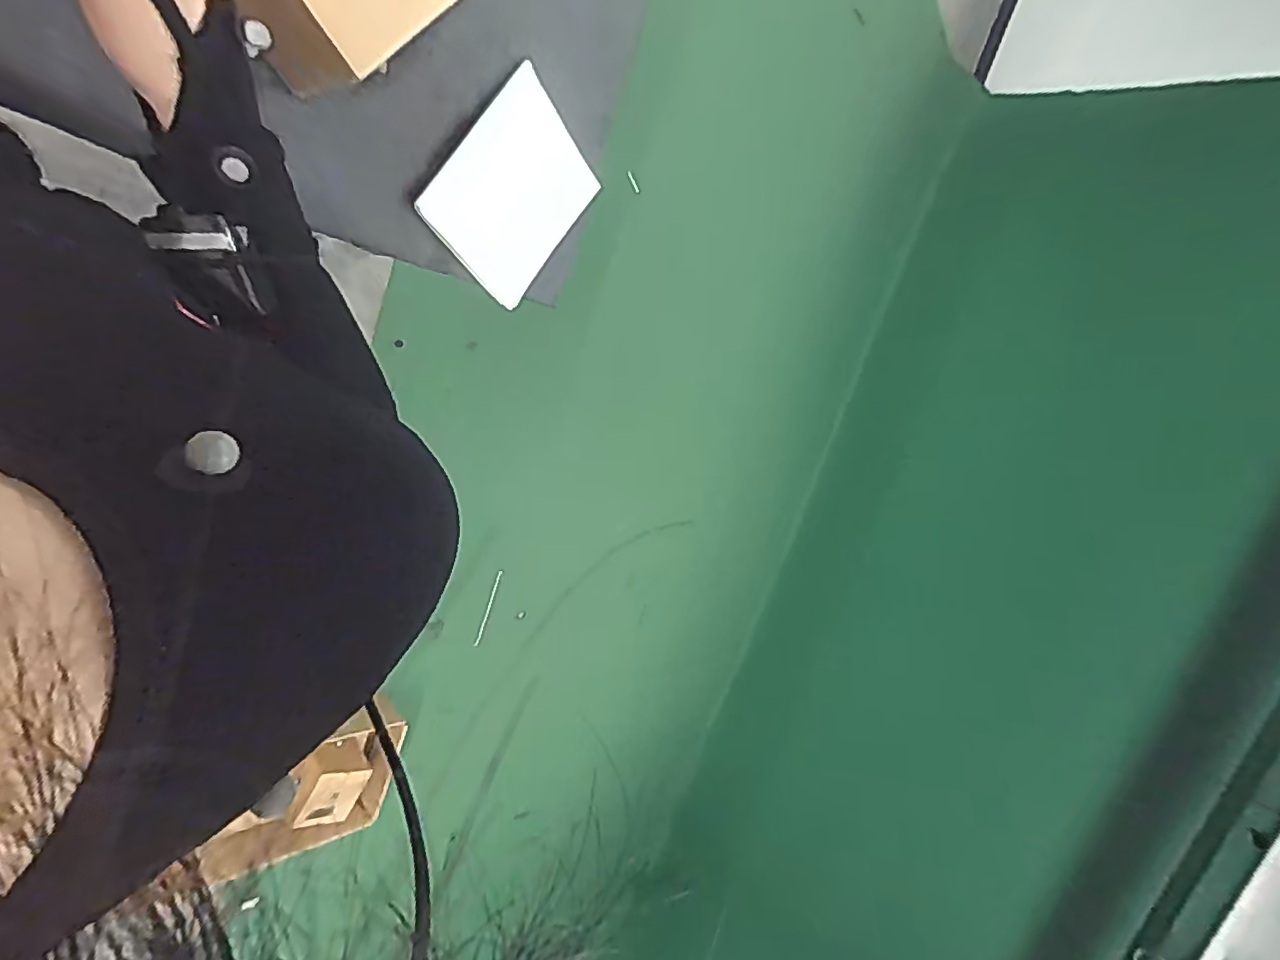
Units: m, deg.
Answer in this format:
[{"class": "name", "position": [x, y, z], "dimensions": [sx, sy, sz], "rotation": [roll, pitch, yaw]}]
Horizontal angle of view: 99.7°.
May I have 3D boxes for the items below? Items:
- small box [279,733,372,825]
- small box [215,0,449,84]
[{"class": "small box", "position": [-0.961, 0.899, 1.640], "dimensions": [0.168, 0.176, 0.179], "rotation": [34, 85, -52]}, {"class": "small box", "position": [-0.301, -0.492, 0.486], "dimensions": [0.168, 0.176, 0.179], "rotation": [-54, 140, -14]}]
